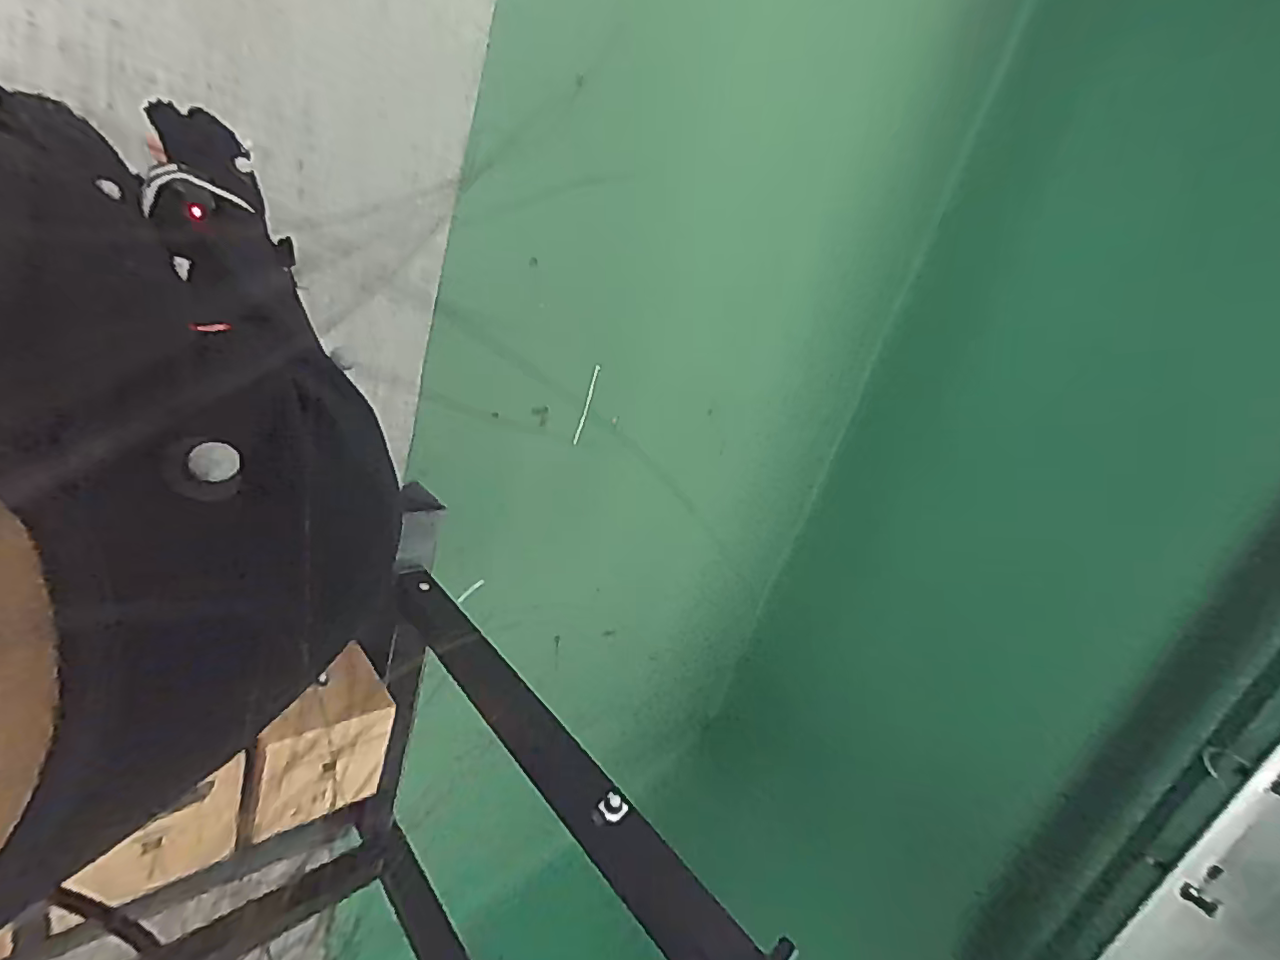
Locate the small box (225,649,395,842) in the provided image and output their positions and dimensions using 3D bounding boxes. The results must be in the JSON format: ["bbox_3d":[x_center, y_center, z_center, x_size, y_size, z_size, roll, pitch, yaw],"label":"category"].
[{"bbox_3d":[-0.496,0.376,0.808,0.168,0.176,0.179,1,114,-48],"label":"small box"}]
